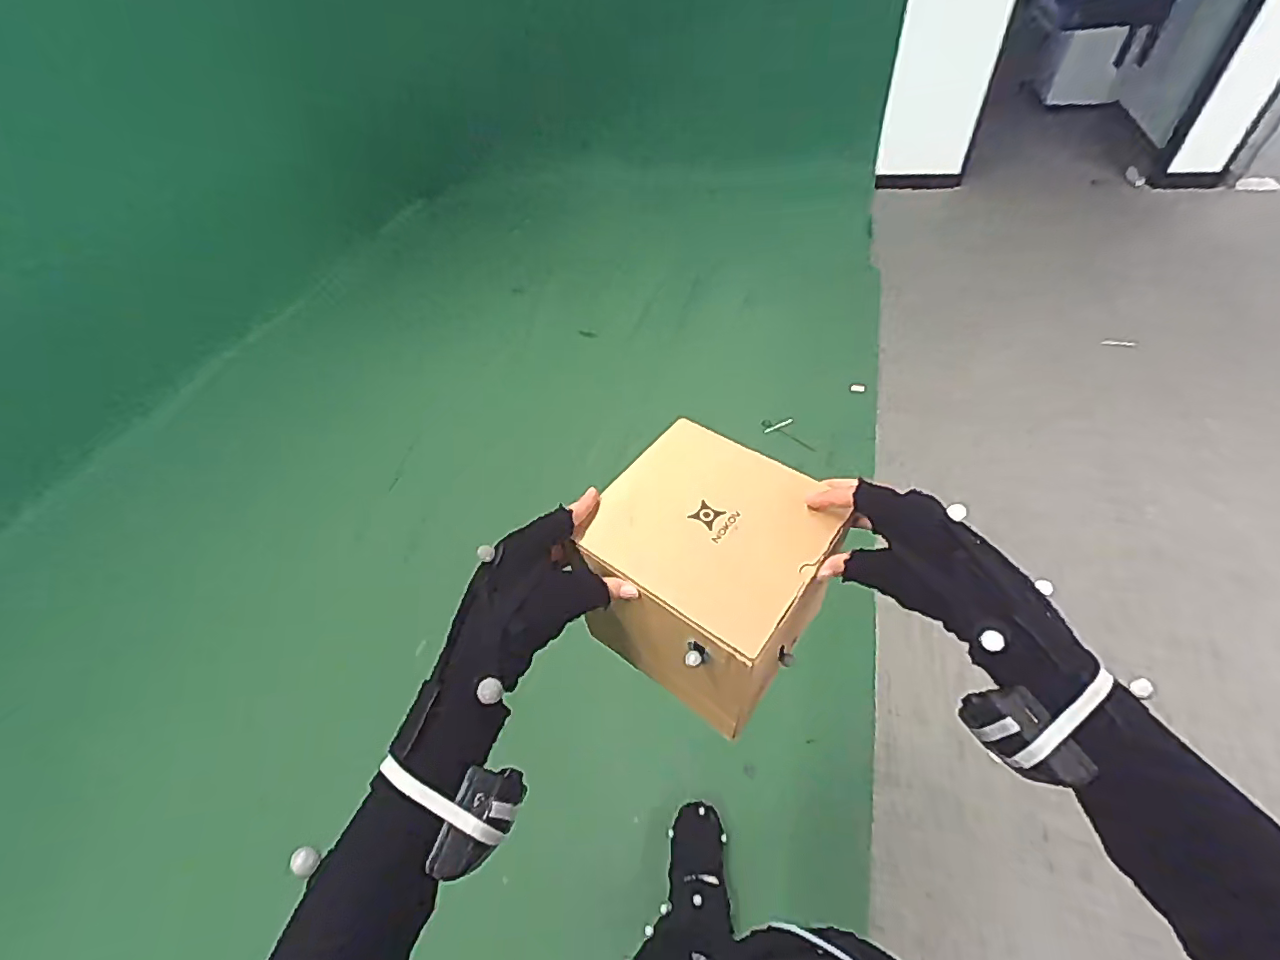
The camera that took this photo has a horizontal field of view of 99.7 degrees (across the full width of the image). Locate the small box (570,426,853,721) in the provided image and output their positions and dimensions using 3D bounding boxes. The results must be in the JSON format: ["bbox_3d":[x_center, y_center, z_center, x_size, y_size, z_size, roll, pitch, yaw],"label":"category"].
[{"bbox_3d":[0.062,0.086,0.497,0.179,0.176,0.168,29,57,26],"label":"small box"}]
